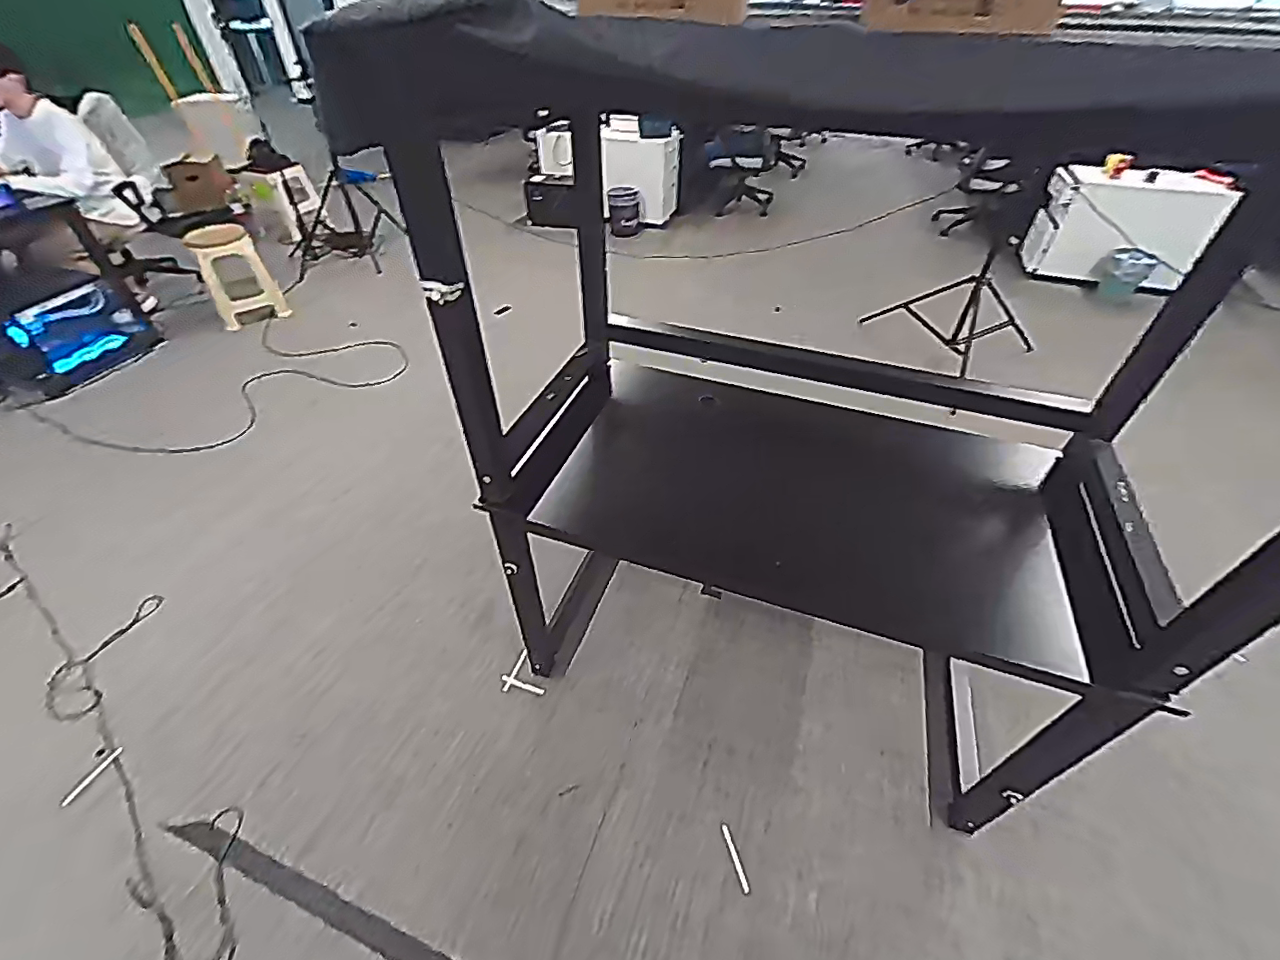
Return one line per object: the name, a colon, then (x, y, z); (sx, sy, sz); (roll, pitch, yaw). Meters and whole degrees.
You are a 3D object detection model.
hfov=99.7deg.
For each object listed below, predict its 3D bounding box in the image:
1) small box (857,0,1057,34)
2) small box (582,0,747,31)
small box: (0.308, -0.522, 0.498); (0.168, 0.176, 0.179); (14, 43, 14)
small box: (0.032, -0.574, 0.551); (0.168, 0.176, 0.179); (7, 42, 8)
